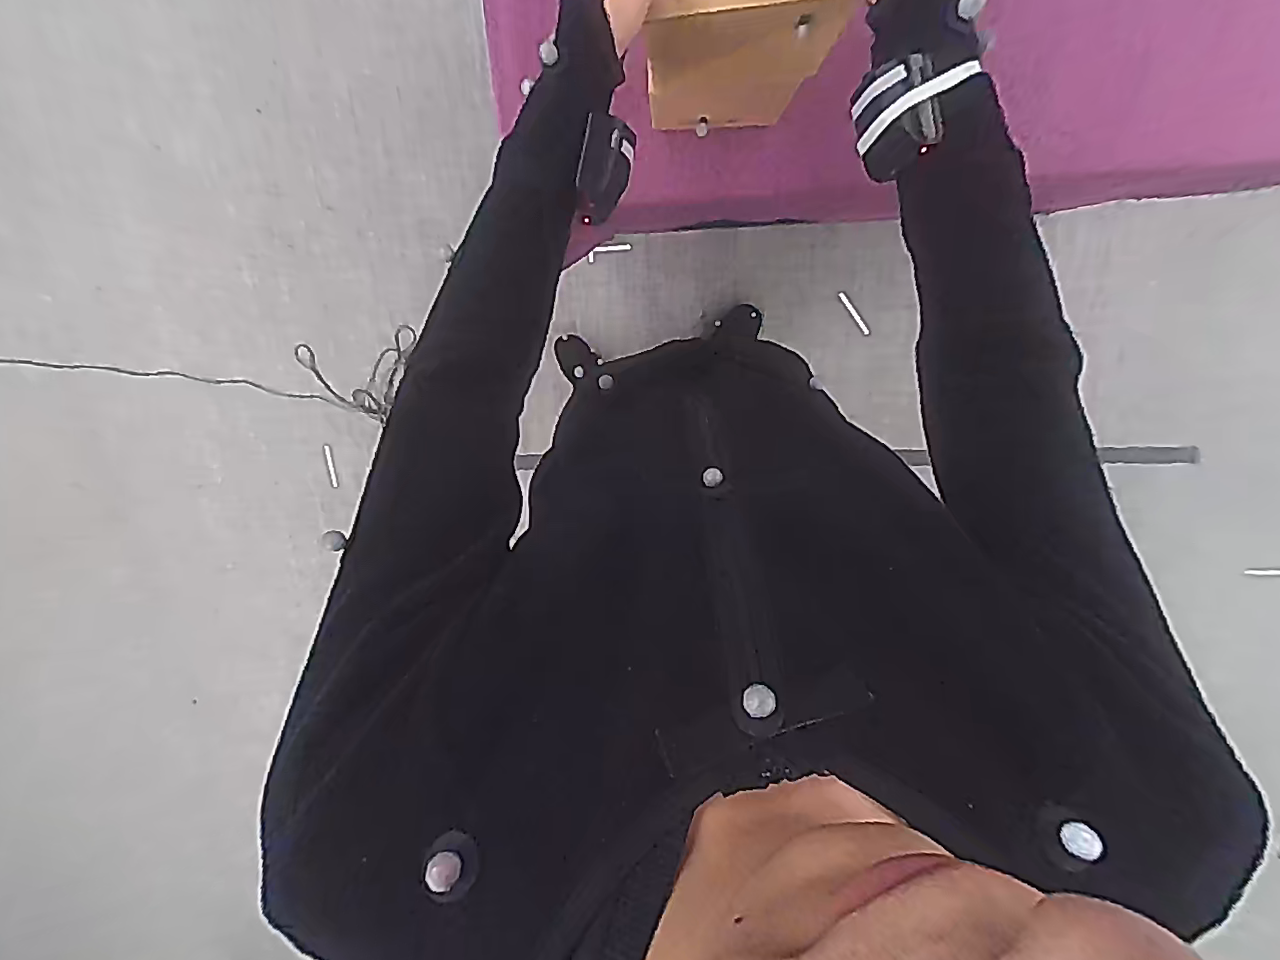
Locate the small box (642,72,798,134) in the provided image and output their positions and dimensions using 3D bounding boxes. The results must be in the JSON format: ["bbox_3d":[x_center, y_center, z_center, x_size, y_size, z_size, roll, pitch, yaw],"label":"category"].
[{"bbox_3d":[0.086,-0.521,0.616,0.168,0.176,0.179,-1,110,5],"label":"small box"}]

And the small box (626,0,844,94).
[{"bbox_3d":[0.076,-0.461,0.465,0.179,0.176,0.168,-4,109,5],"label":"small box"}]
